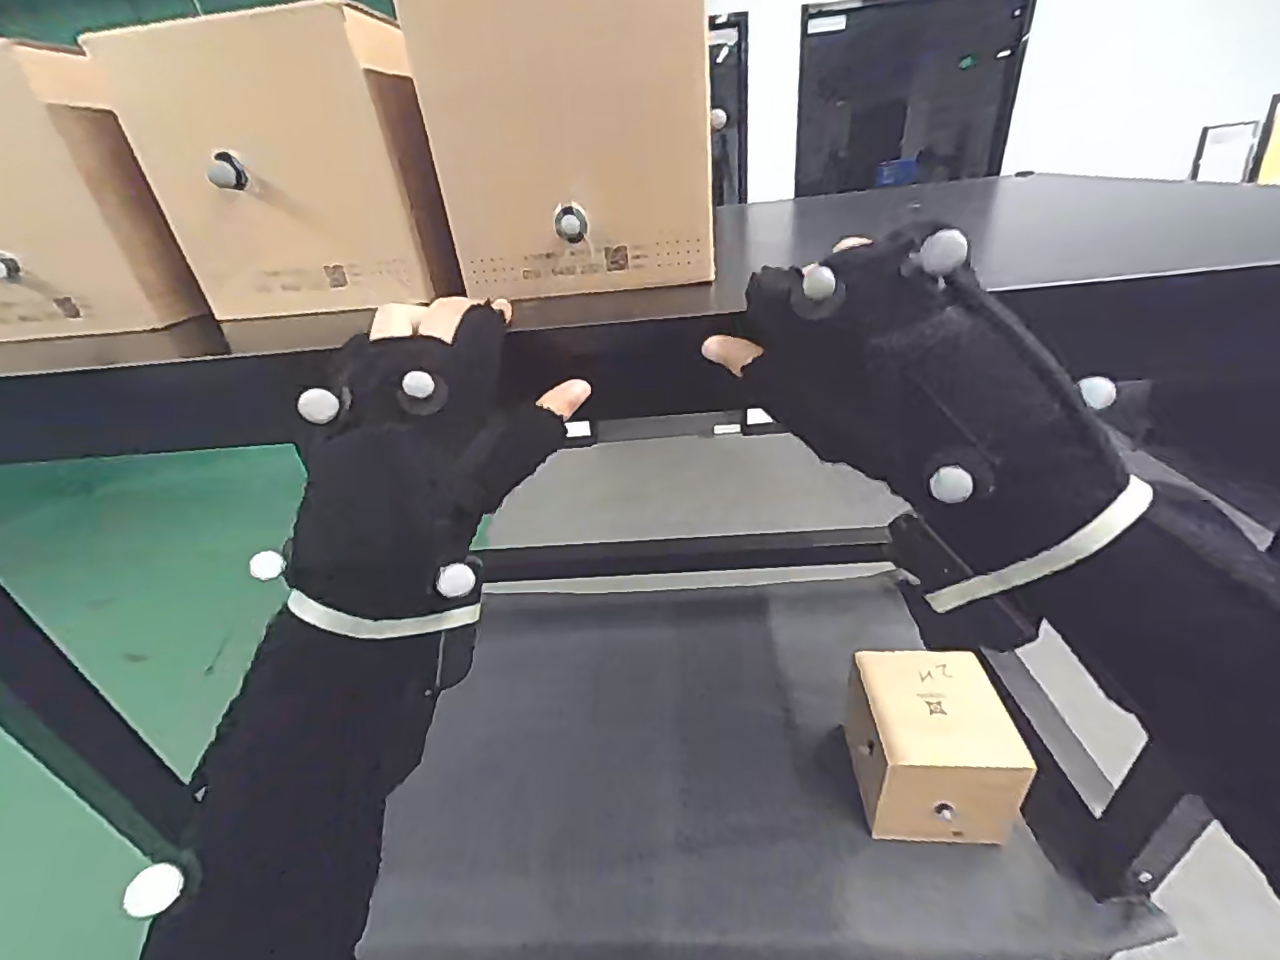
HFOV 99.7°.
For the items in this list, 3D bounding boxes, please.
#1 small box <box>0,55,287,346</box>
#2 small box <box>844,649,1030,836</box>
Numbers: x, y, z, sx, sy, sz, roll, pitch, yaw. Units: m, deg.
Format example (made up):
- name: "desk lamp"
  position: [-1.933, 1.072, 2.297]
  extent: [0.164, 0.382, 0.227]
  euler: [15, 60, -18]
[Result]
- name: "small box"
  position: [-0.424, -0.214, 0.431]
  extent: [0.168, 0.176, 0.179]
  euler: [-3, 32, 6]
- name: "small box"
  position: [0.389, 0.358, 0.746]
  extent: [0.168, 0.176, 0.179]
  euler: [-2, 30, 7]
